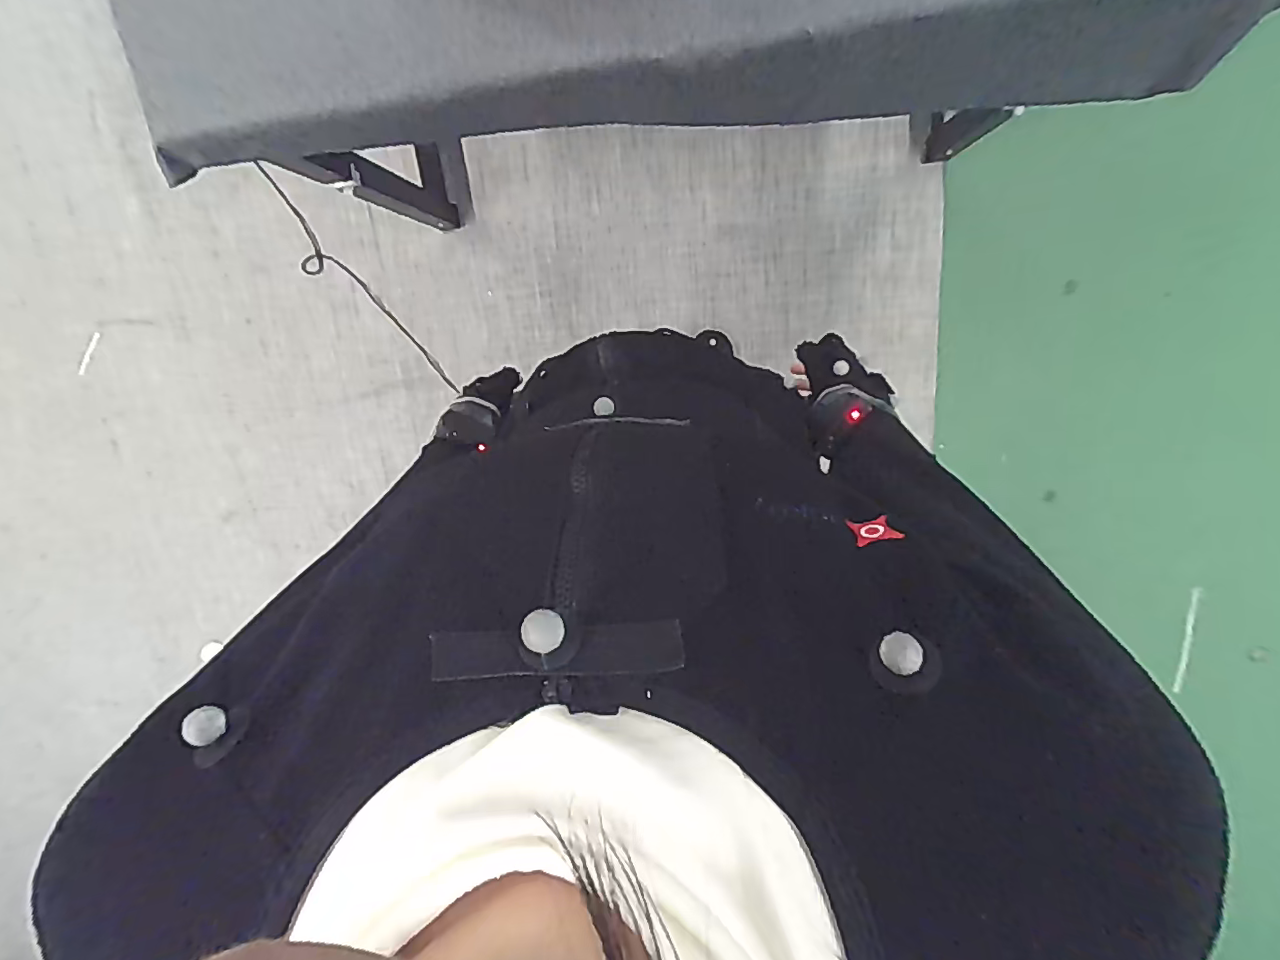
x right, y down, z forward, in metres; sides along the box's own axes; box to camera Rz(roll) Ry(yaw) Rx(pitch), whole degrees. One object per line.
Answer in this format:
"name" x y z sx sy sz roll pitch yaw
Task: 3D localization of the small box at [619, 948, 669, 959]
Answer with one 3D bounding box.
"small box" 0.013 1.765 1.869 0.179 0.176 0.168 -4 105 4
